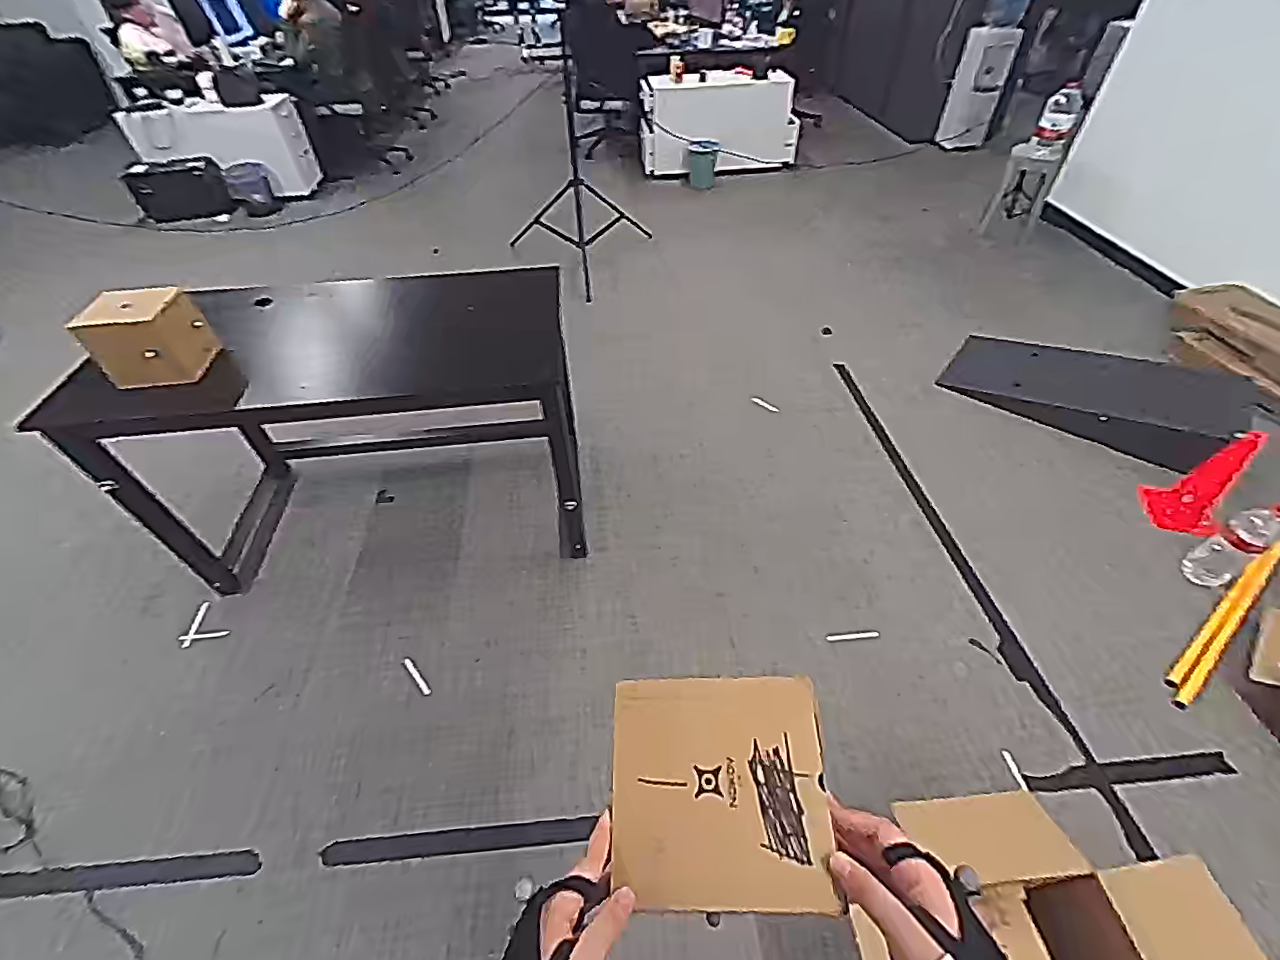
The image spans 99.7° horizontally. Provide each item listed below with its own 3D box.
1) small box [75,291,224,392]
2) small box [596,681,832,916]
[{"bbox_3d":[-1.155,-0.331,1.295,0.179,0.176,0.168,-8,46,-4],"label":"small box"},{"bbox_3d":[0.061,0.291,0.506,0.179,0.176,0.168,-3,57,4],"label":"small box"}]
